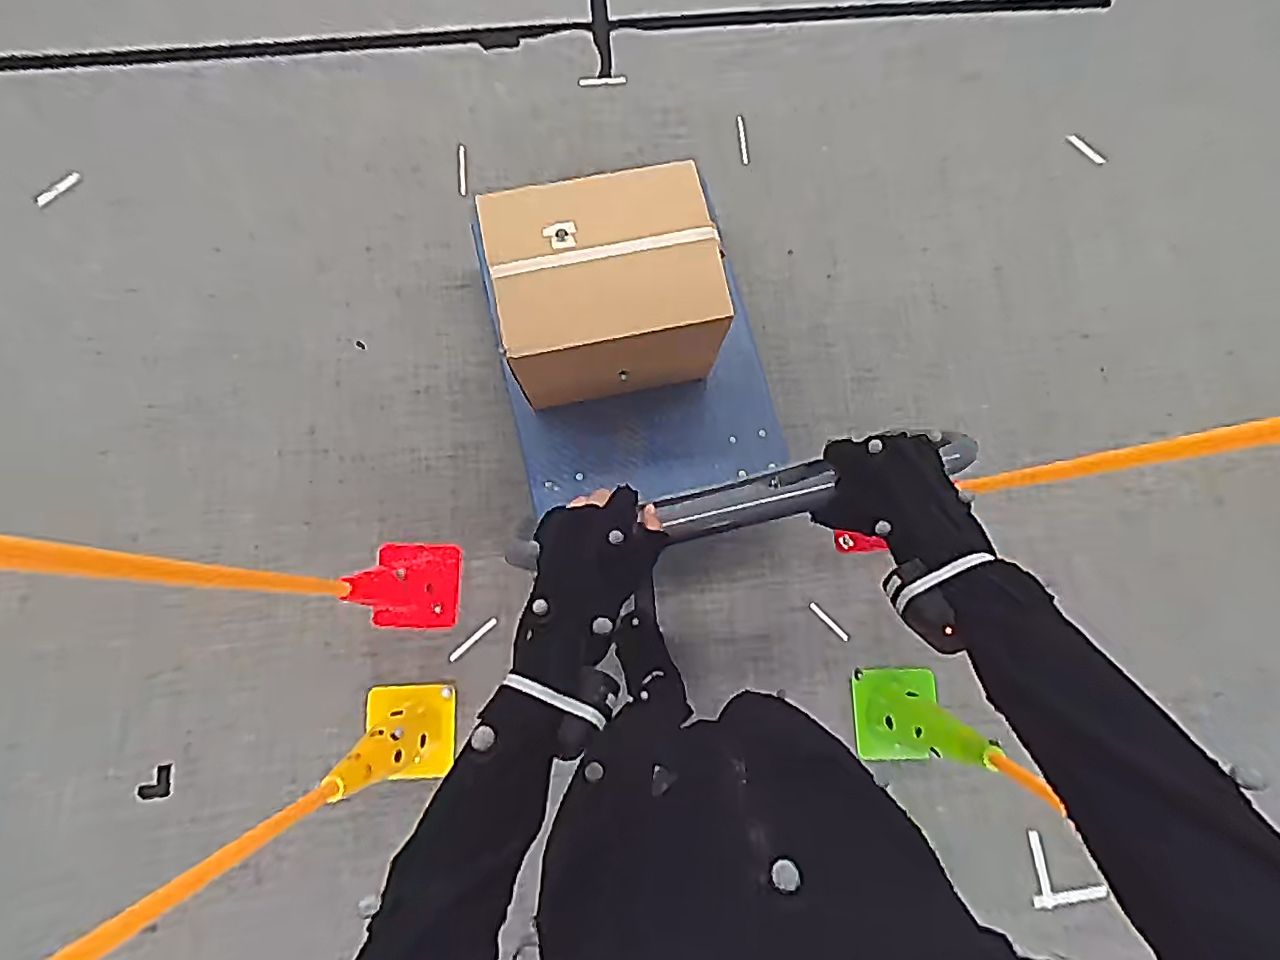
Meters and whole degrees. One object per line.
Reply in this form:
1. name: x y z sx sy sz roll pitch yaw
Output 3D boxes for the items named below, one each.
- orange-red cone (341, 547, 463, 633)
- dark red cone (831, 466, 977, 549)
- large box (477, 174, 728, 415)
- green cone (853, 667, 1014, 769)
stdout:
1. orange-red cone: -0.526 0.229 1.139 0.198 0.360 0.199 2 78 -2
2. dark red cone: 0.591 0.038 1.182 0.201 0.394 0.202 -5 80 -4
3. large box: -0.072 -0.354 1.111 0.408 0.320 0.320 -12 81 -3
4. green cone: 0.616 0.518 1.111 0.202 0.368 0.200 -1 79 -3
